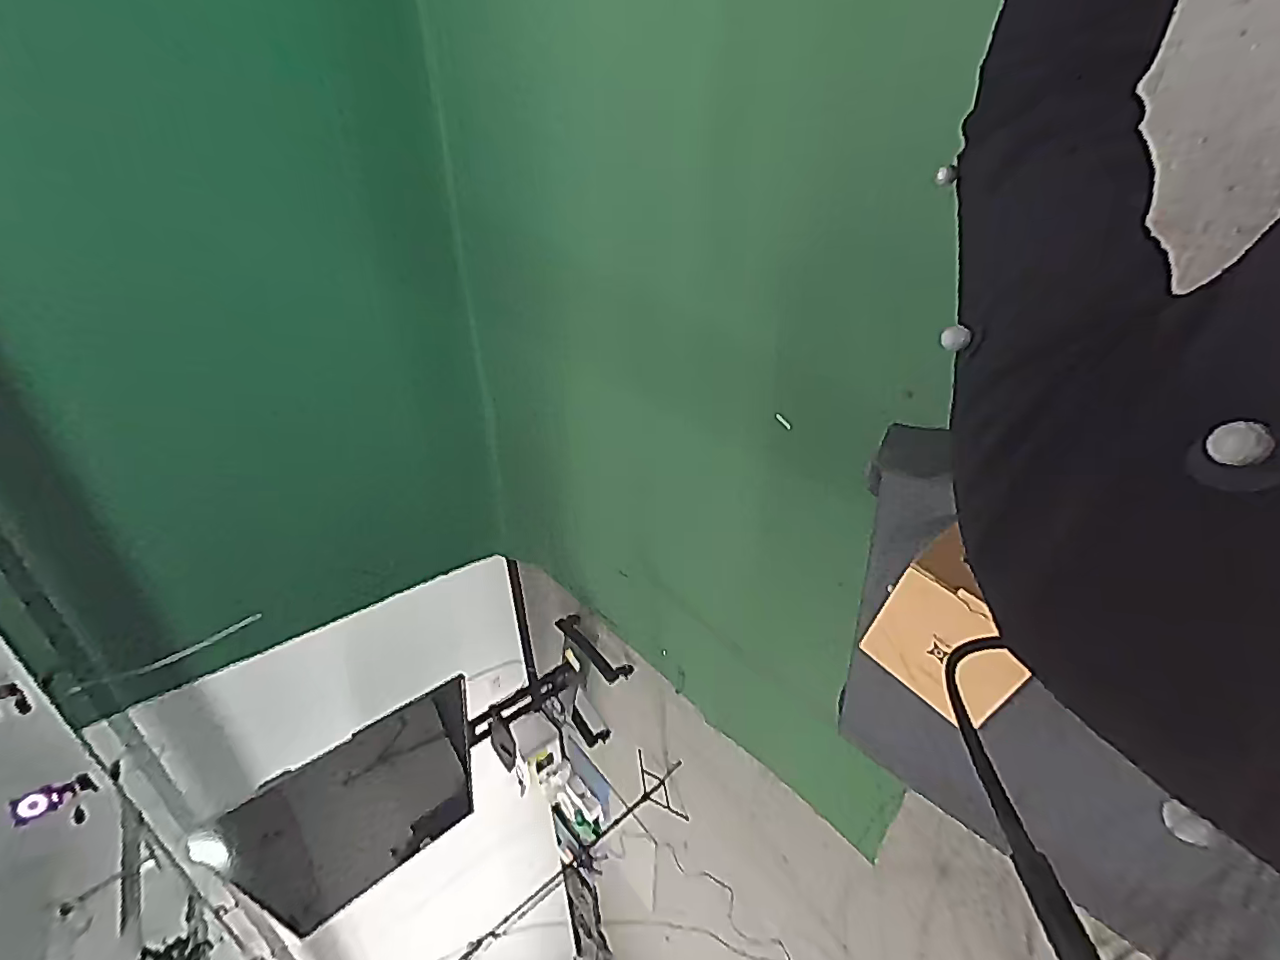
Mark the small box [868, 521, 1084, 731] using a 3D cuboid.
[{"bbox_3d":[0.447,0.185,0.724,0.168,0.176,0.179,39,139,35],"label":"small box"}]
